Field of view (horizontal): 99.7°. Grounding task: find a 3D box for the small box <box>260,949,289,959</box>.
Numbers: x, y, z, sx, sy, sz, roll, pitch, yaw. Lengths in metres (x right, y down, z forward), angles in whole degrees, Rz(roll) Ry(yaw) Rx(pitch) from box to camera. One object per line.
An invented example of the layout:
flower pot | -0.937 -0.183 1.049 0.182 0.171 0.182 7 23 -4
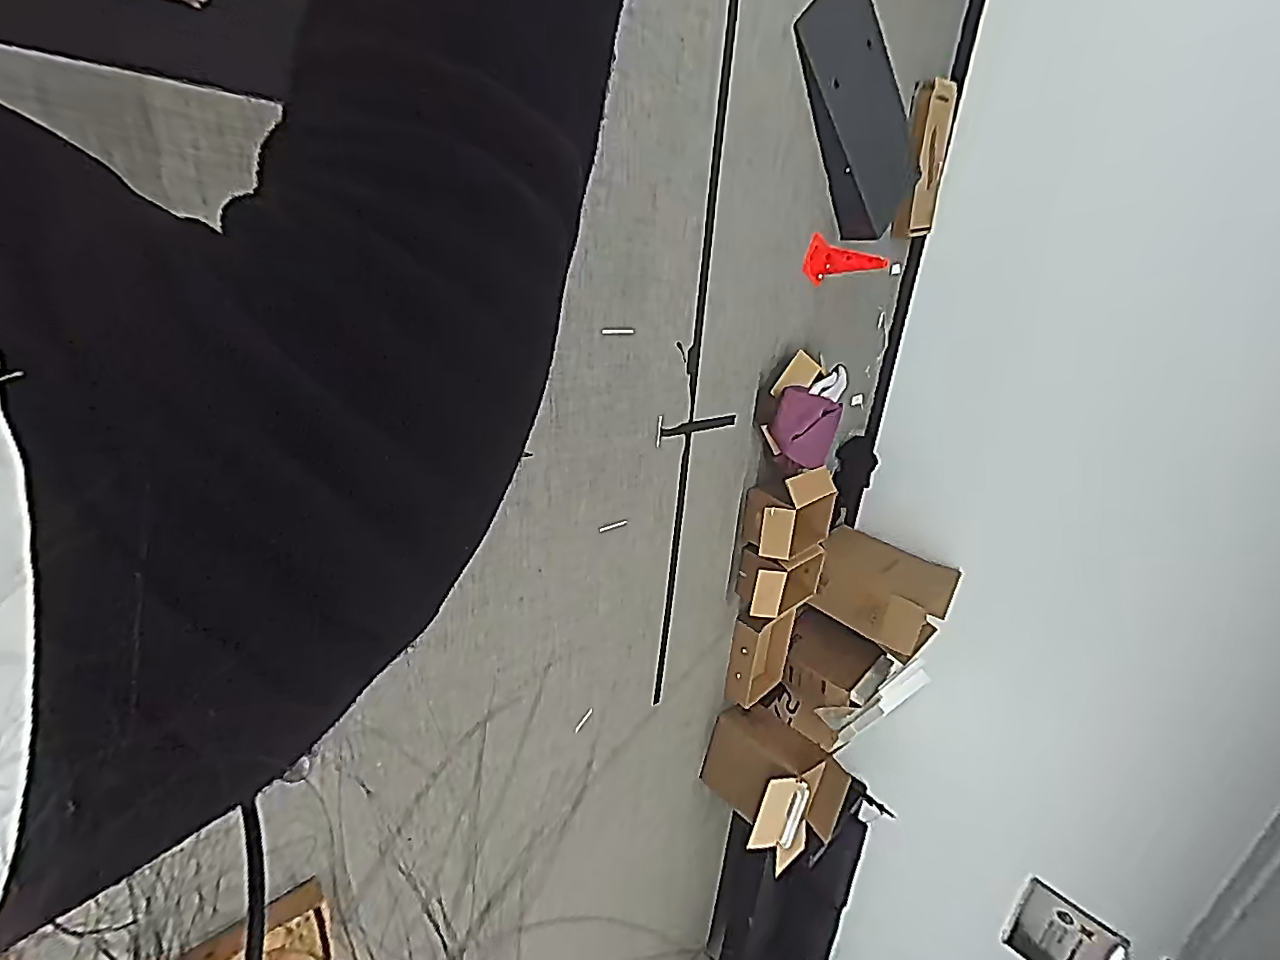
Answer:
small box | -1.126 1.565 1.613 0.168 0.176 0.179 -18 121 -40
